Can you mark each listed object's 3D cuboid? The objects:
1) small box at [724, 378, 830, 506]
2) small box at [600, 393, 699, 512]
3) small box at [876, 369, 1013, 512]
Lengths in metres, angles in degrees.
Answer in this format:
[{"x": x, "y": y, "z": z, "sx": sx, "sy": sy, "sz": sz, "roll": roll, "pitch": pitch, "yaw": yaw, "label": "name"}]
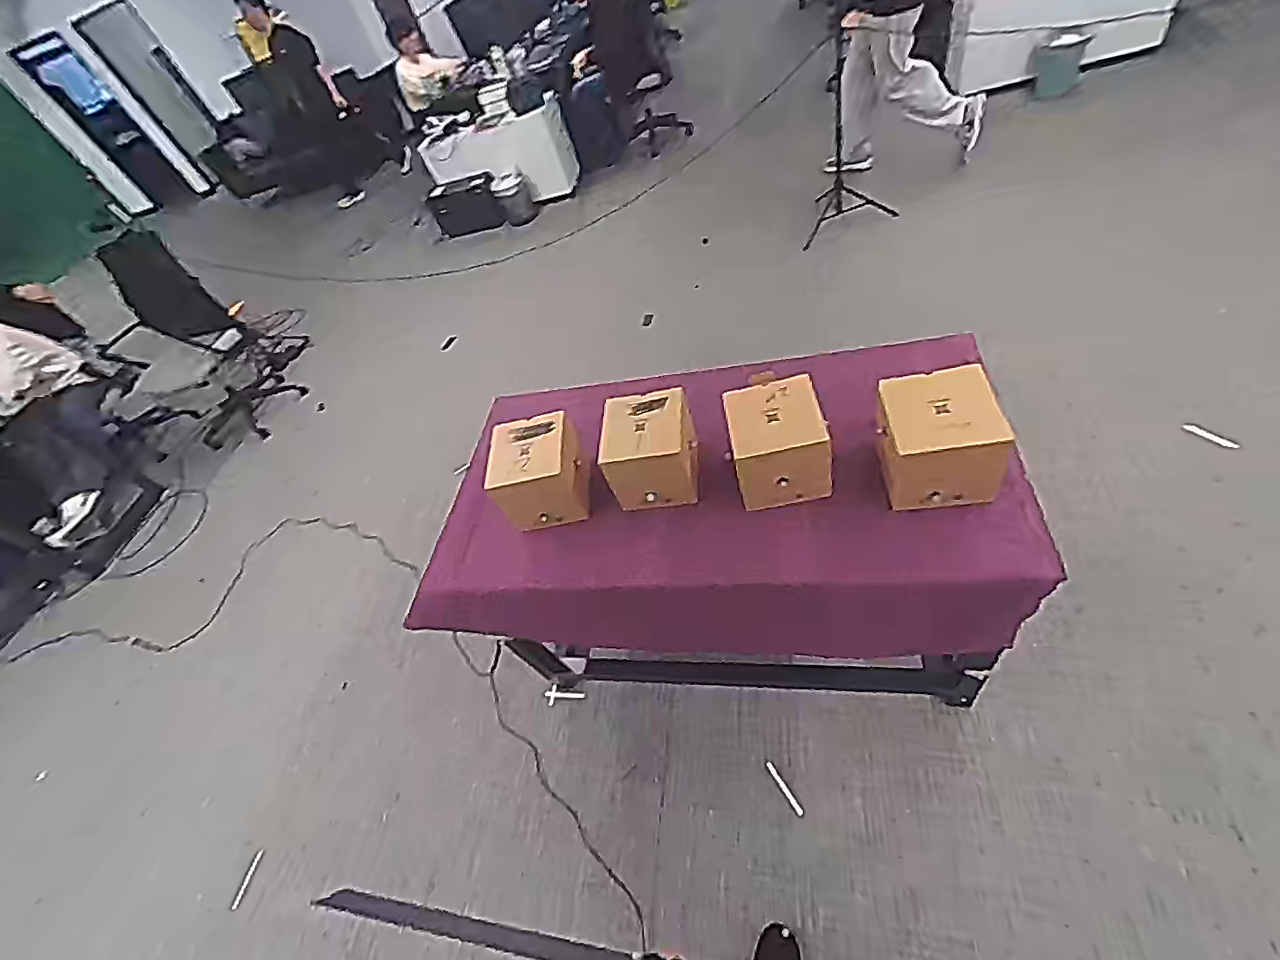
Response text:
[{"x": 0.267, "y": -0.064, "z": 1.054, "sx": 0.168, "sy": 0.176, "sz": 0.179, "roll": -12, "pitch": 49, "yaw": 11, "label": "small box"}, {"x": 0.028, "y": -0.055, "z": 1.138, "sx": 0.168, "sy": 0.176, "sz": 0.179, "roll": -7, "pitch": 51, "yaw": 15, "label": "small box"}, {"x": 0.523, "y": -0.066, "z": 0.958, "sx": 0.168, "sy": 0.176, "sz": 0.179, "roll": -8, "pitch": 50, "yaw": 16, "label": "small box"}]
